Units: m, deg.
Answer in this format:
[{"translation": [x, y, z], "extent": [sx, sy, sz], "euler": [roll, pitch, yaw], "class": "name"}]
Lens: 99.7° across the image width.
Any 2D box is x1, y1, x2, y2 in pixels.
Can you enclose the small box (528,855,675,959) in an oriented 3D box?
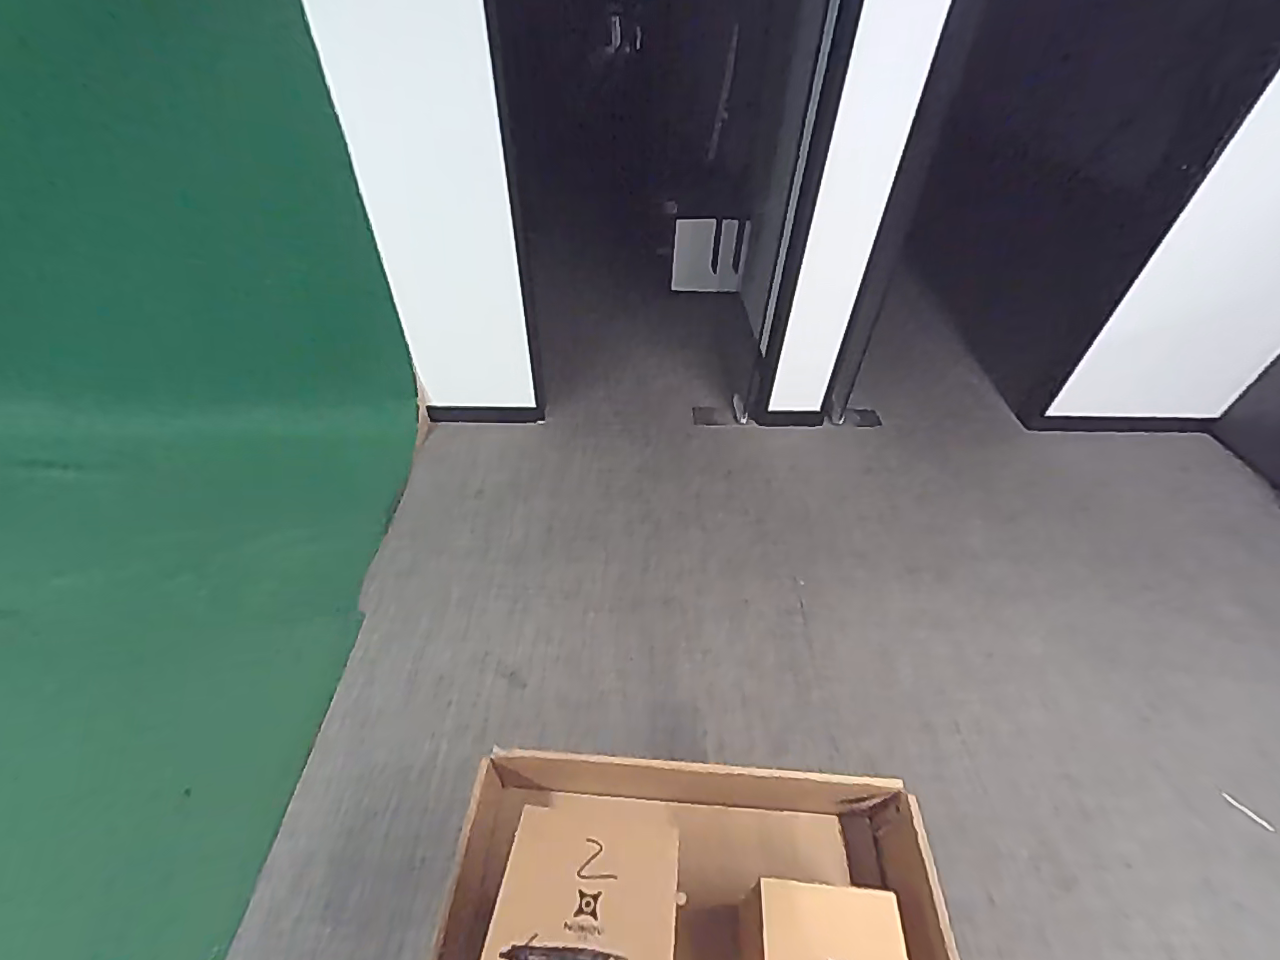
[{"translation": [-0.045, 0.587, 0.663], "extent": [0.168, 0.176, 0.179], "euler": [2, 45, 1], "class": "small box"}]
